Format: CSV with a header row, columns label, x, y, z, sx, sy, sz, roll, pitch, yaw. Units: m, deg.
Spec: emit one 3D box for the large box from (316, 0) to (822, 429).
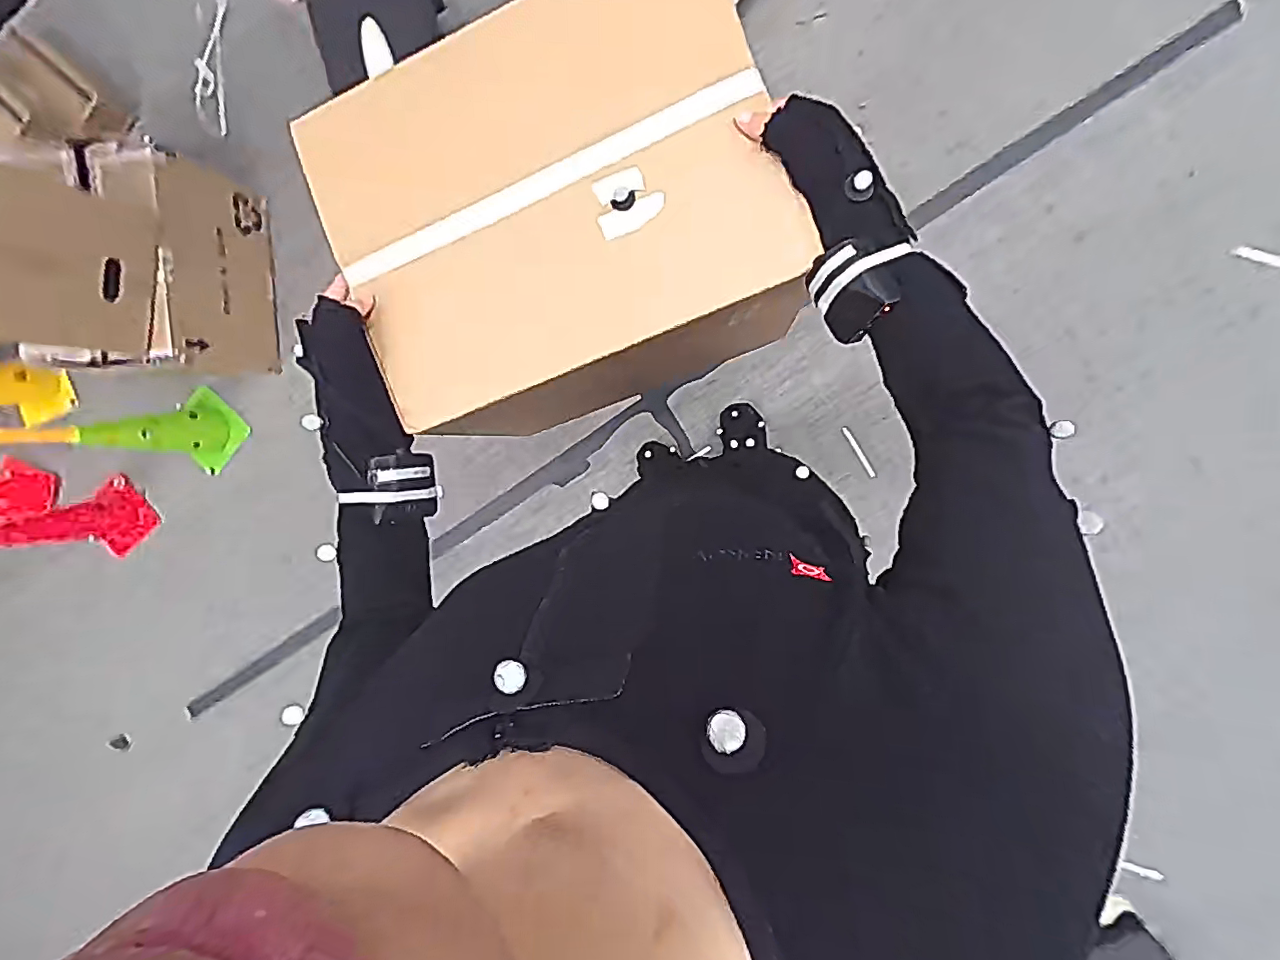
label,x,y,z,sx,sy,sz,roll,pitch,yaw
large box,-0.057,-0.274,0.630,0.408,0.320,0.320,-19,91,10
